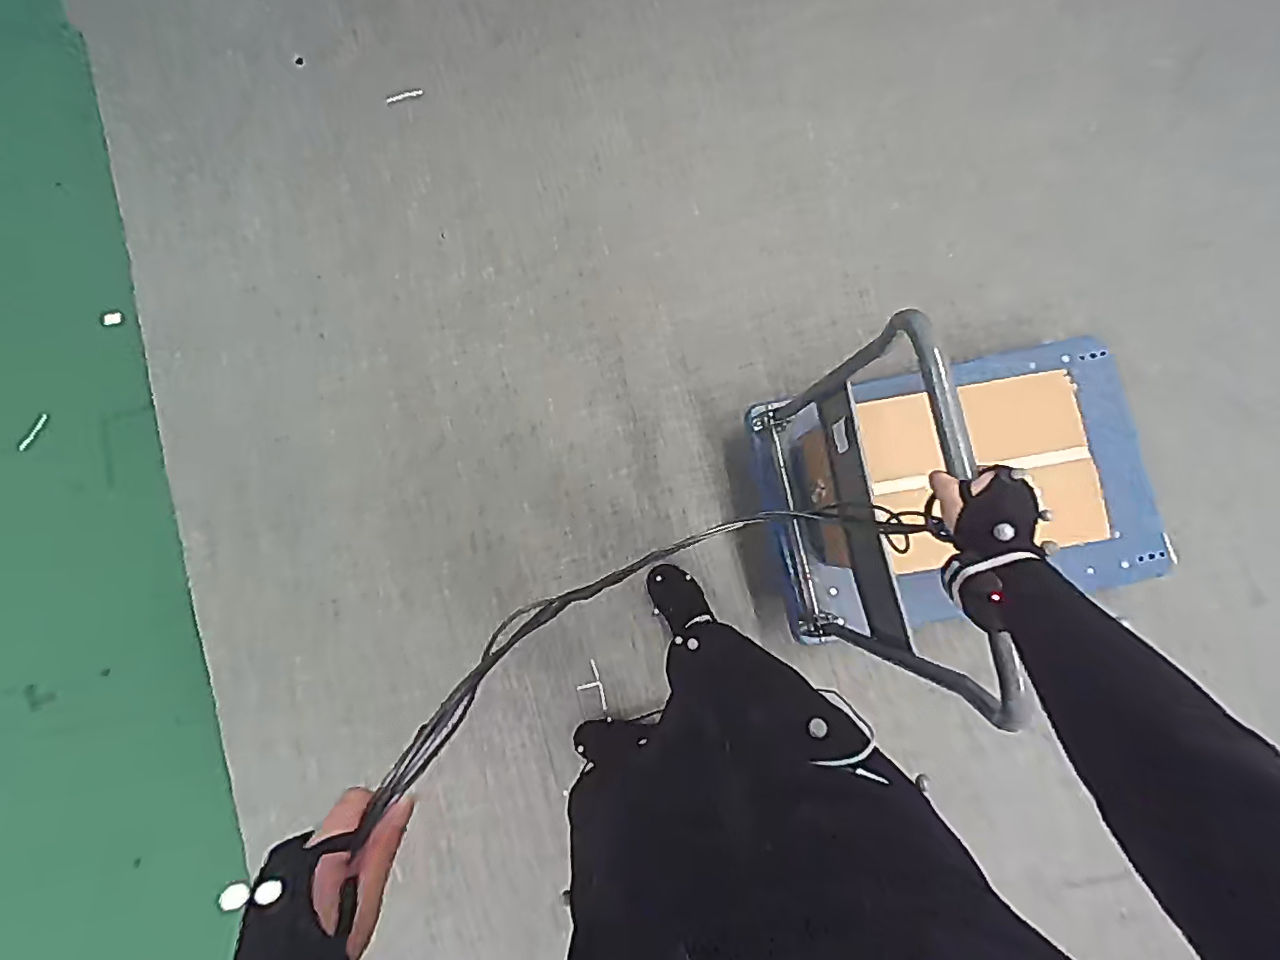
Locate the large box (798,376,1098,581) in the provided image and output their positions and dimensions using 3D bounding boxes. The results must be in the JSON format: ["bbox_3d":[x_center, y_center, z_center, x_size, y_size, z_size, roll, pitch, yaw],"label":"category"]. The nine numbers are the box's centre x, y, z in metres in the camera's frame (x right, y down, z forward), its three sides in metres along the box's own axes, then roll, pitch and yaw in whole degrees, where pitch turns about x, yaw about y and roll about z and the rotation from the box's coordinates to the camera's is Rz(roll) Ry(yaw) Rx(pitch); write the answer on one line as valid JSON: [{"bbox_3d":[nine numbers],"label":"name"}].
[{"bbox_3d":[0.590,0.011,1.116,0.408,0.320,0.320,-10,85,-1],"label":"large box"}]
